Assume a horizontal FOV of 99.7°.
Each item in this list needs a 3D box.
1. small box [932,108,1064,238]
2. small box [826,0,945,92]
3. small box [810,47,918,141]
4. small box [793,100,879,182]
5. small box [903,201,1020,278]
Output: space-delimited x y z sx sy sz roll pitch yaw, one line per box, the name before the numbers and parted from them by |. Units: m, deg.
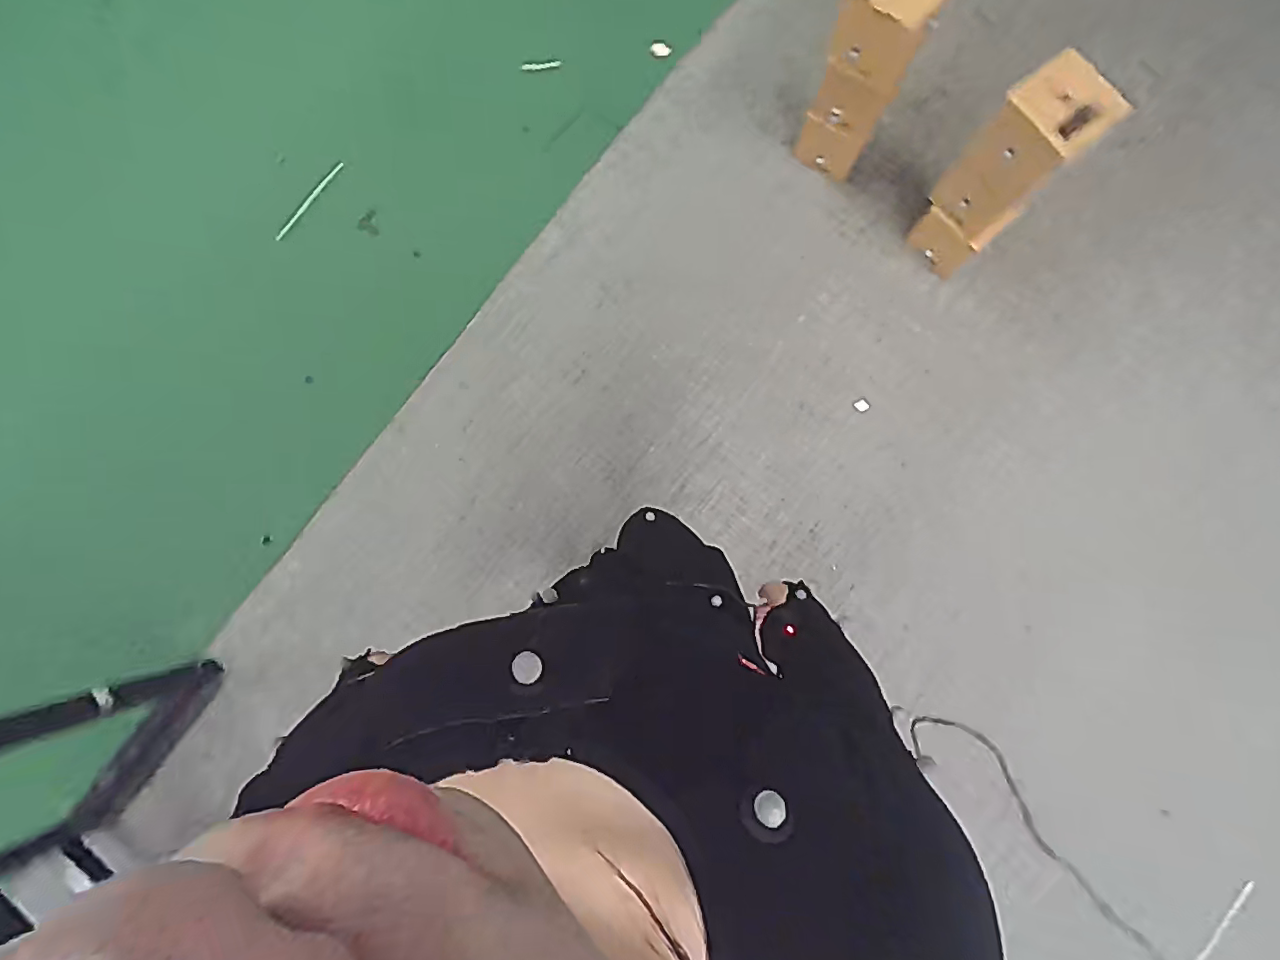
small box | 0.838 -0.723 1.295 0.179 0.176 0.168 -38 84 0
small box | 0.536 -1.011 1.175 0.168 0.176 0.179 40 88 6
small box | 0.546 -0.998 1.337 0.168 0.176 0.179 34 87 6
small box | 0.547 -0.982 1.499 0.168 0.176 0.179 33 87 6
small box | 0.853 -0.686 1.454 0.179 0.176 0.168 -42 84 -1
